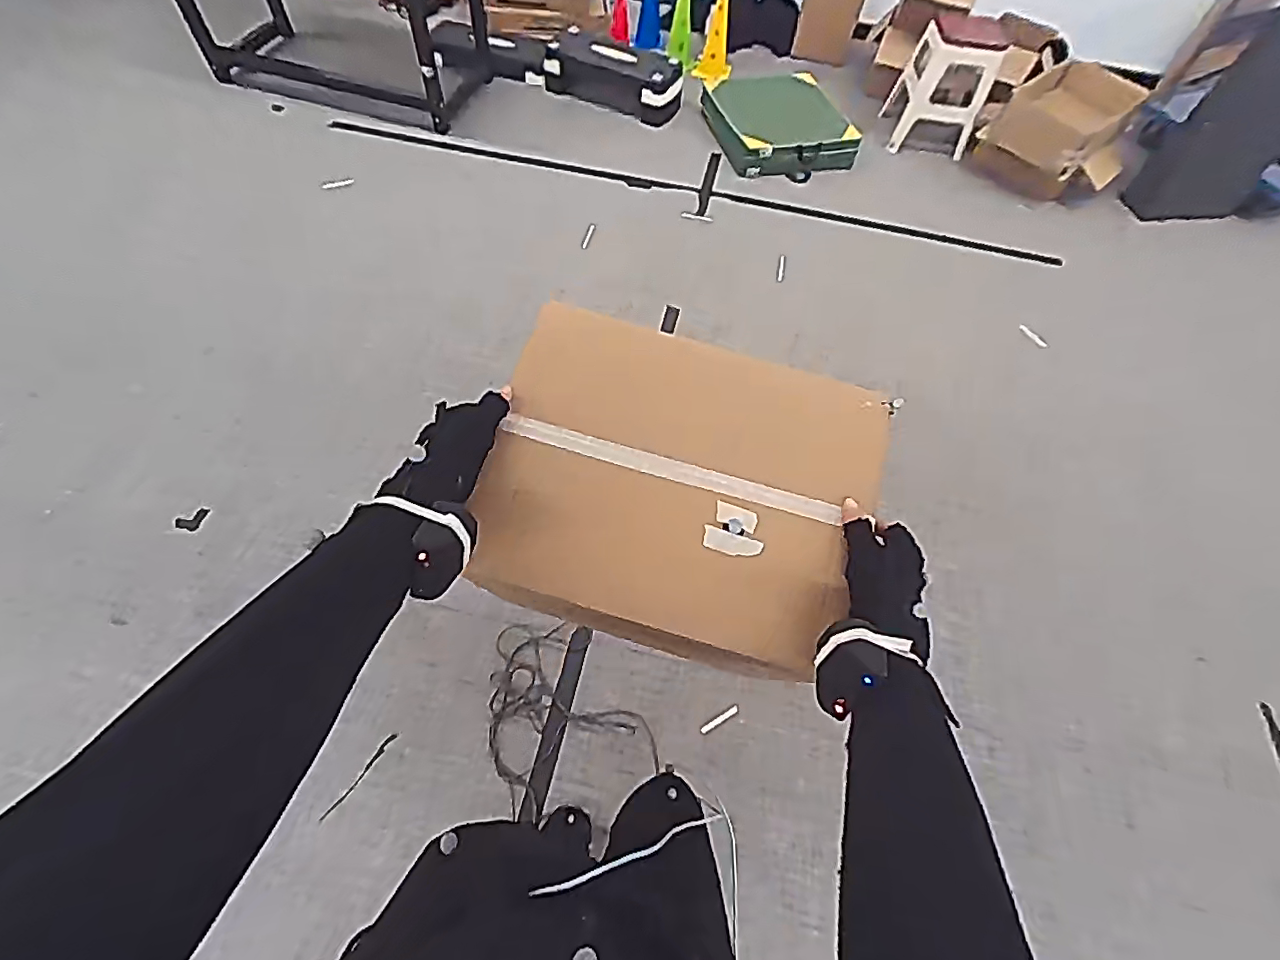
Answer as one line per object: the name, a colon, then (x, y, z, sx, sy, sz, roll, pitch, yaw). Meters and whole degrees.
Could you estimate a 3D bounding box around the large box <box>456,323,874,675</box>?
large box: (0.031, 0.051, 0.721, 0.408, 0.320, 0.320, 16, 71, 1)
